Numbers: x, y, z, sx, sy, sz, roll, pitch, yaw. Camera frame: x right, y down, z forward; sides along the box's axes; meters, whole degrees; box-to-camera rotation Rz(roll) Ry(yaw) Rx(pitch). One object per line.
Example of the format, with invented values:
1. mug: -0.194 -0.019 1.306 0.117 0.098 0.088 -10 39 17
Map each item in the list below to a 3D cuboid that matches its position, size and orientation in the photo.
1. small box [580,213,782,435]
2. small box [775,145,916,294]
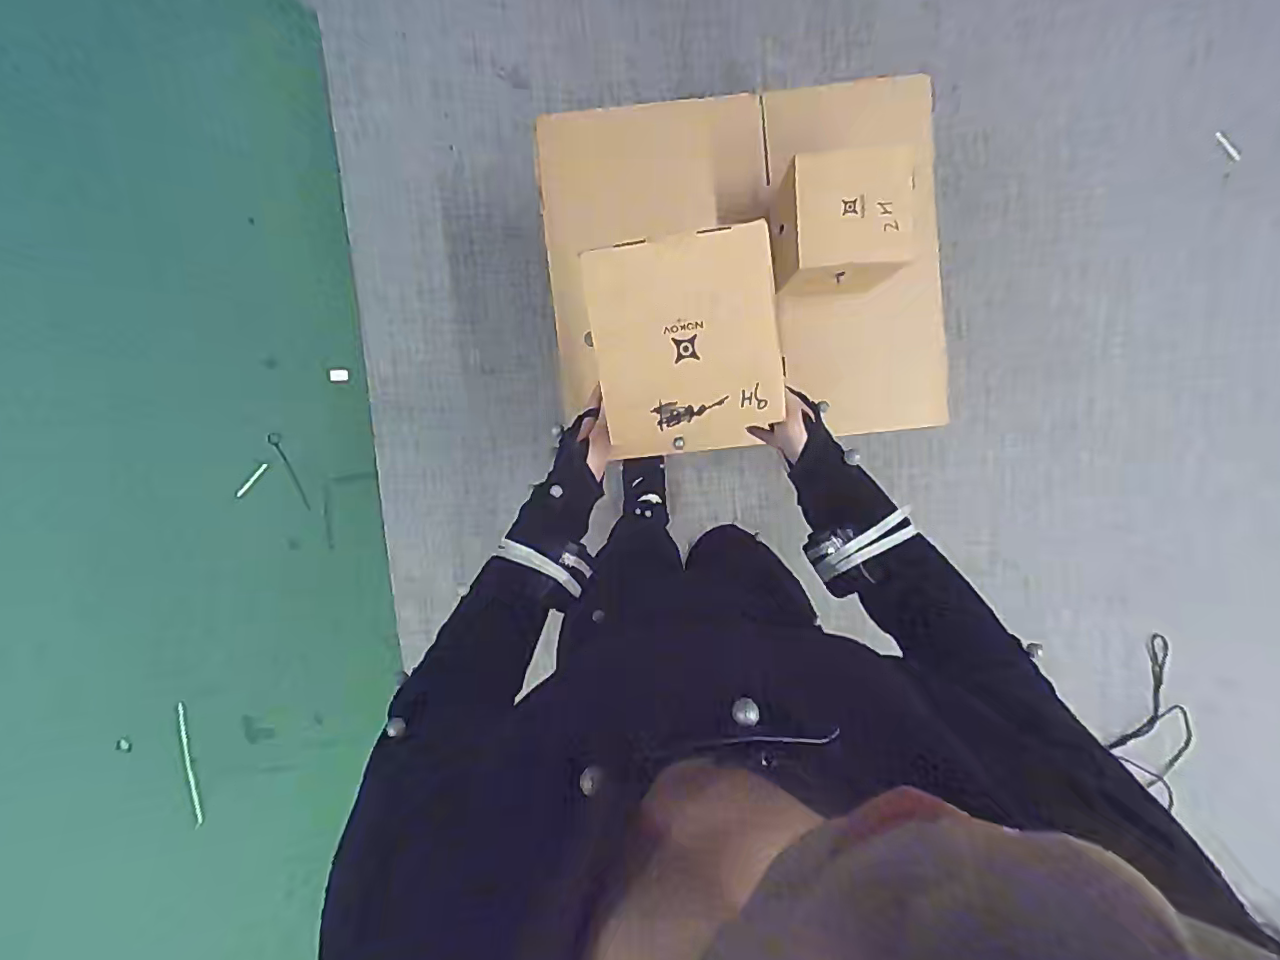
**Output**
1. small box: 0.039 -0.150 0.559 0.168 0.176 0.179 -8 101 3
2. small box: 0.319 -0.406 0.870 0.179 0.176 0.168 -3 95 2
